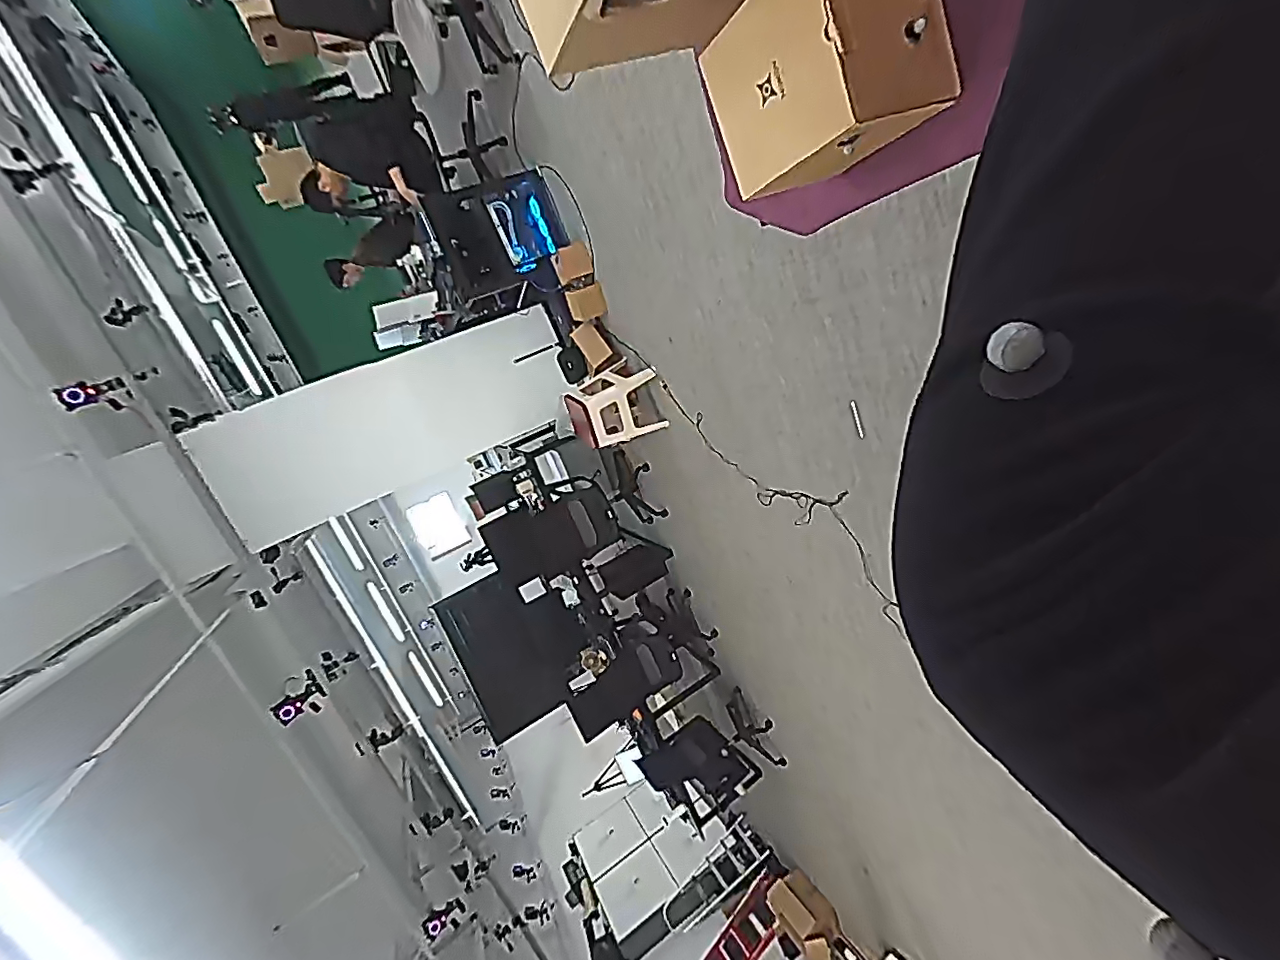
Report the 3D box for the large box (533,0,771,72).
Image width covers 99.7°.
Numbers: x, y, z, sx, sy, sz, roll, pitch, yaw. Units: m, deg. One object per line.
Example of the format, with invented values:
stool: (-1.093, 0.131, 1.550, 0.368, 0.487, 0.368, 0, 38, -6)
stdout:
large box: (0.013, -0.721, 0.514, 0.320, 0.320, 0.408, 10, 128, 65)
